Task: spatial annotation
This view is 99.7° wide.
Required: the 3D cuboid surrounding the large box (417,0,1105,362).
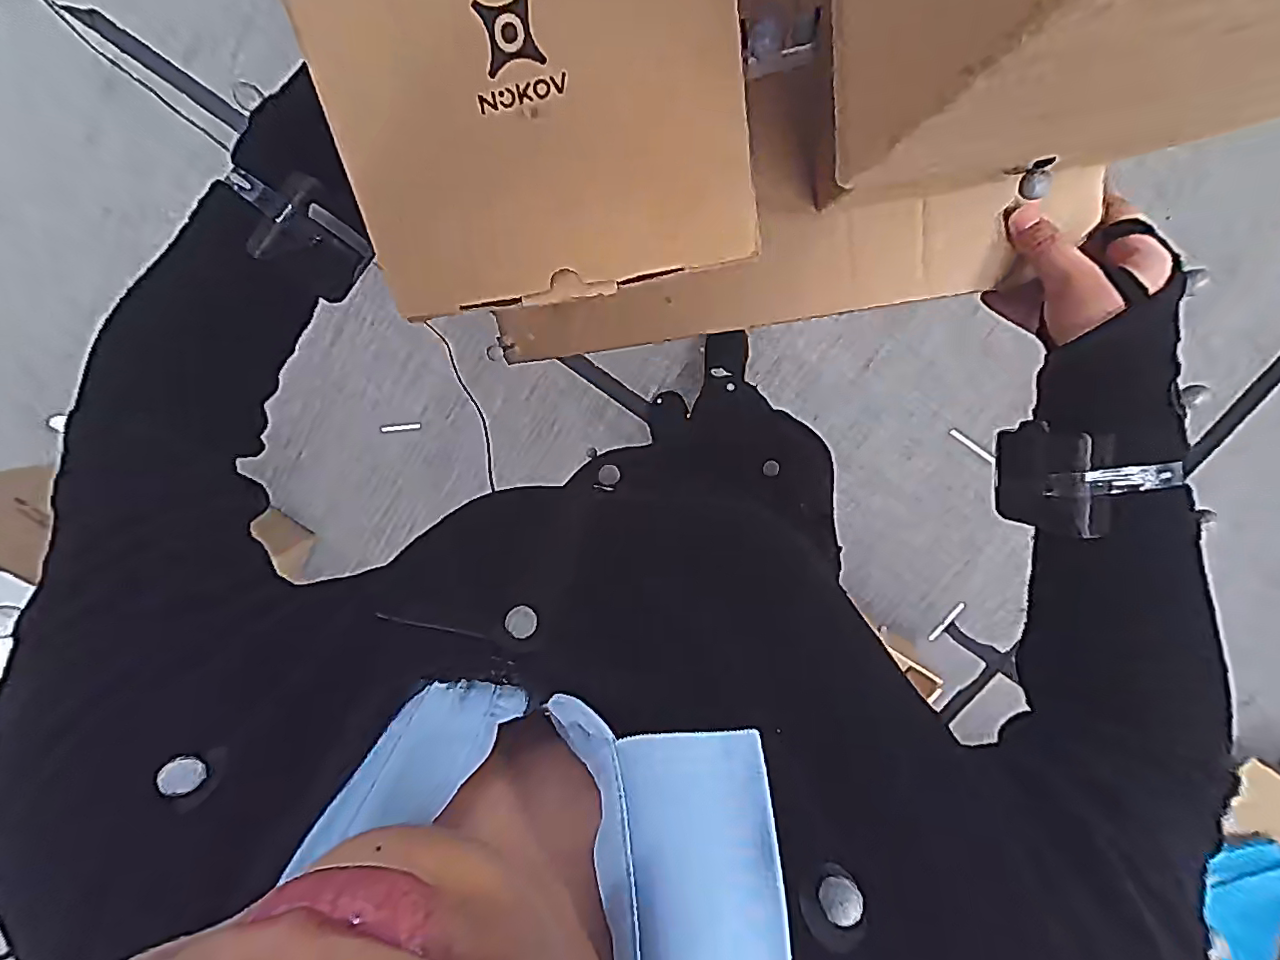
[{"bbox_3d":[0.090,-0.311,0.469,0.408,0.320,0.320,-7,108,14],"label":"large box"}]
